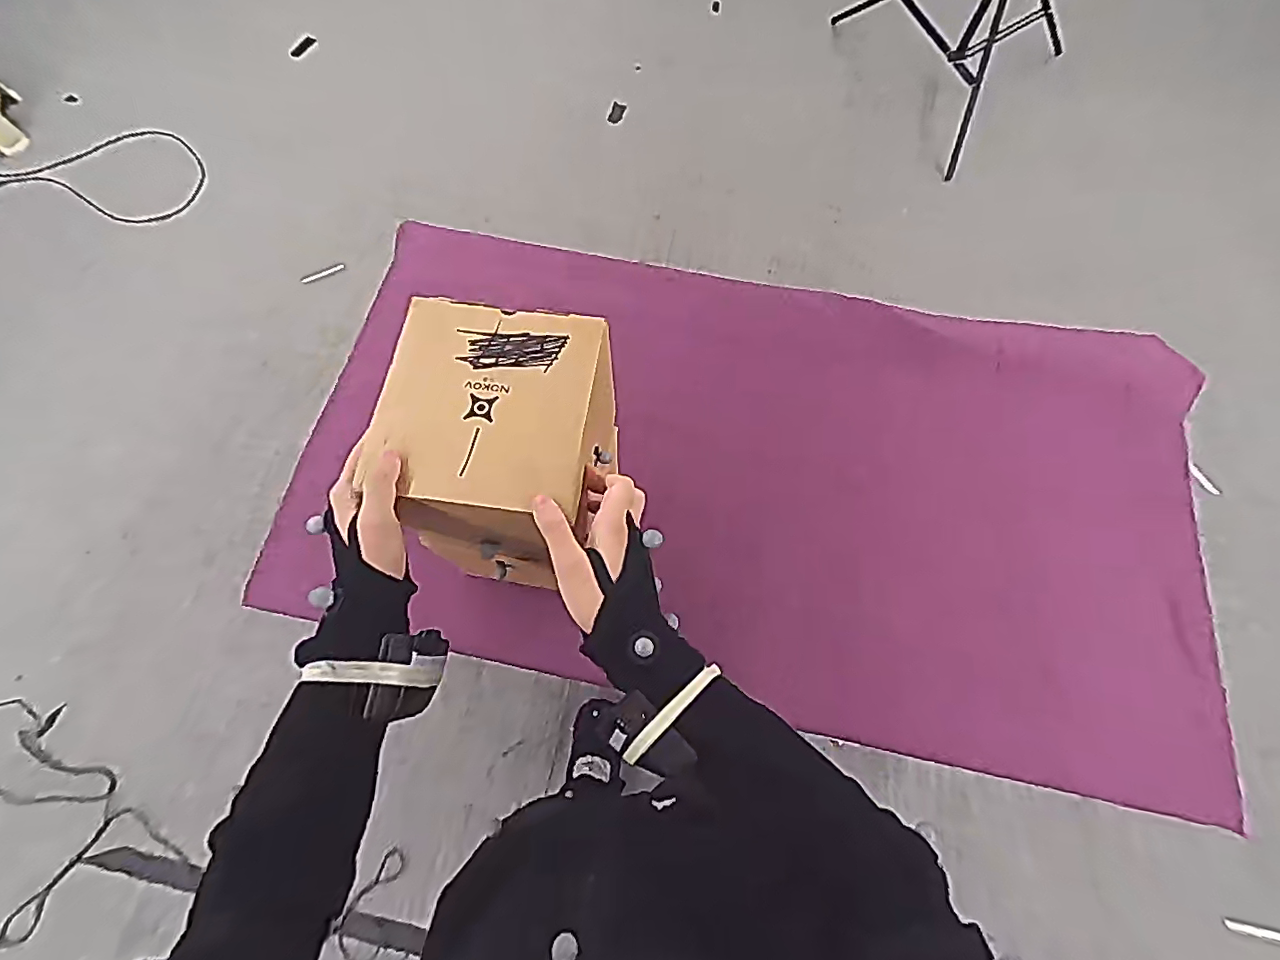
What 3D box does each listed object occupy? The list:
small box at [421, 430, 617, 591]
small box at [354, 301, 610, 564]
[{"bbox_3d":[-0.126,0.031,0.649,0.179,0.176,0.168,10,70,4],"label":"small box"},{"bbox_3d":[-0.120,-0.033,0.498,0.168,0.176,0.179,7,70,3],"label":"small box"}]
